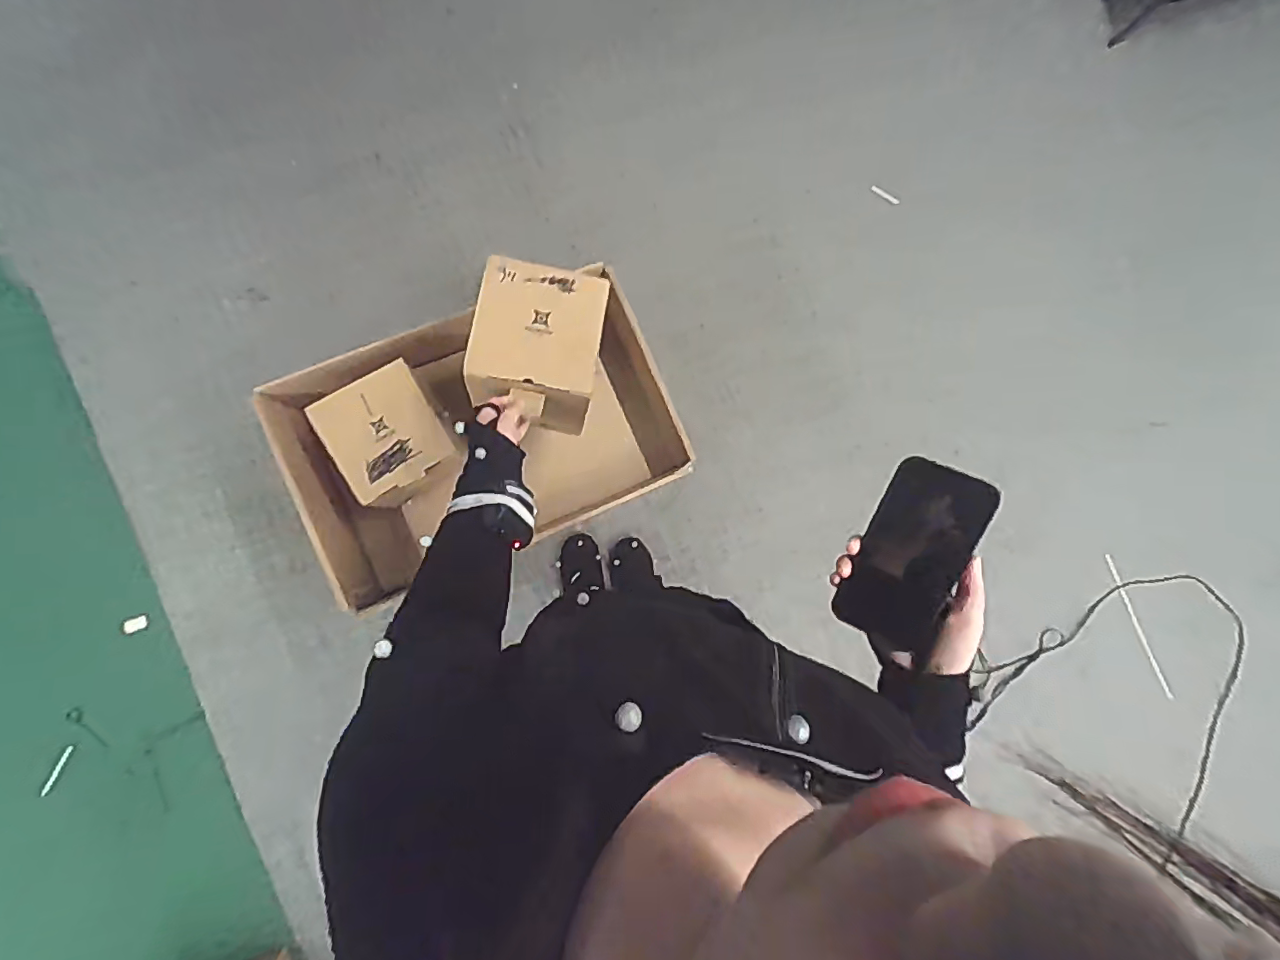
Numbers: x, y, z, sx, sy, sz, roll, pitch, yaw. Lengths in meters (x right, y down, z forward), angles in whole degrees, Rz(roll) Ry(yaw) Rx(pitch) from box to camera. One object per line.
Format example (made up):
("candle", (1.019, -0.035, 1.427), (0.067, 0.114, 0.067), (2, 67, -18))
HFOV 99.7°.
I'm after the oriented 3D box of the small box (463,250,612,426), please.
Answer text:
("small box", (-0.141, -0.190, 0.775), (0.168, 0.176, 0.179), (10, 77, -8))
